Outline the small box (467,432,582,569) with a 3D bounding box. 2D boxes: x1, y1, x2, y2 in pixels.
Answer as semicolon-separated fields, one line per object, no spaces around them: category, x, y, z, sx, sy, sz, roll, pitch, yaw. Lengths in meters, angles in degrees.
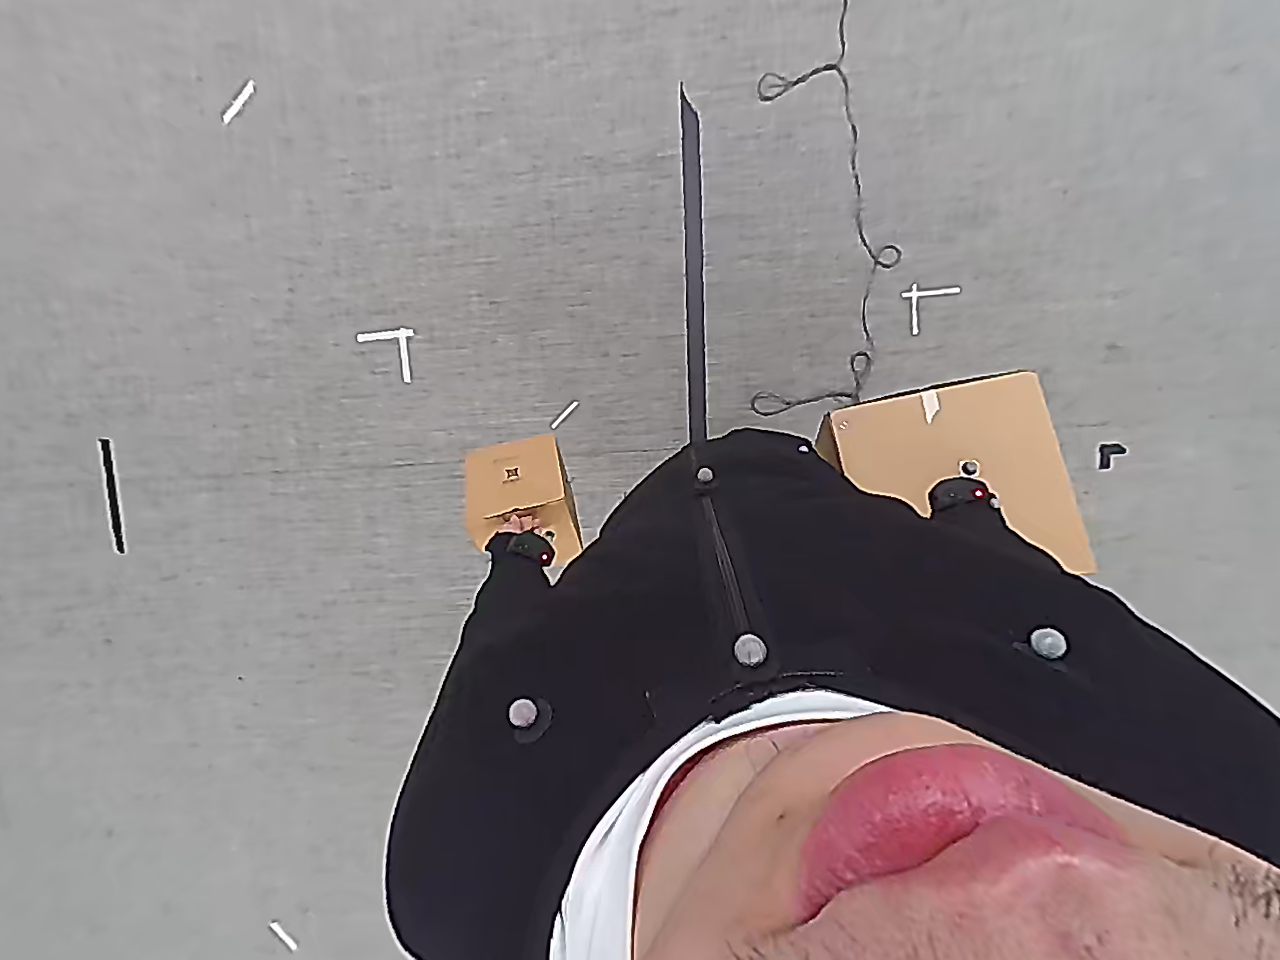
small box;-0.209;0.045;0.994;0.168;0.179;0.176;-14;136;-5
